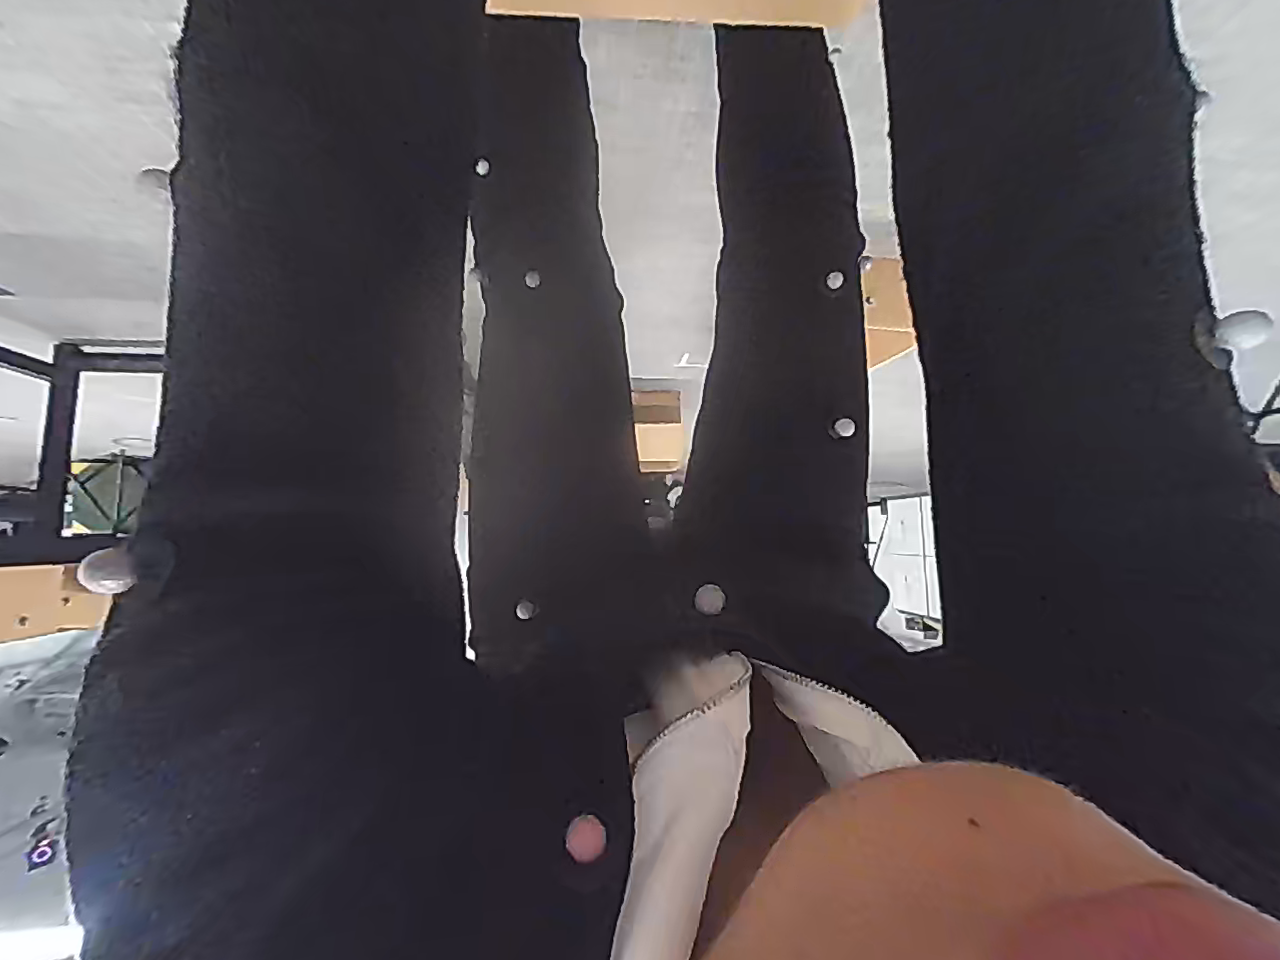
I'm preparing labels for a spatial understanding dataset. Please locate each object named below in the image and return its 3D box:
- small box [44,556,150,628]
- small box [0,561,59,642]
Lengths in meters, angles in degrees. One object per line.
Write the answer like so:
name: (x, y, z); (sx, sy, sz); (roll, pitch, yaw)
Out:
small box: (-1.461, 0.292, 1.438); (0.179, 0.176, 0.168); (-1, 174, -1)
small box: (-1.442, 0.263, 1.183); (0.168, 0.176, 0.179); (0, 173, -6)
